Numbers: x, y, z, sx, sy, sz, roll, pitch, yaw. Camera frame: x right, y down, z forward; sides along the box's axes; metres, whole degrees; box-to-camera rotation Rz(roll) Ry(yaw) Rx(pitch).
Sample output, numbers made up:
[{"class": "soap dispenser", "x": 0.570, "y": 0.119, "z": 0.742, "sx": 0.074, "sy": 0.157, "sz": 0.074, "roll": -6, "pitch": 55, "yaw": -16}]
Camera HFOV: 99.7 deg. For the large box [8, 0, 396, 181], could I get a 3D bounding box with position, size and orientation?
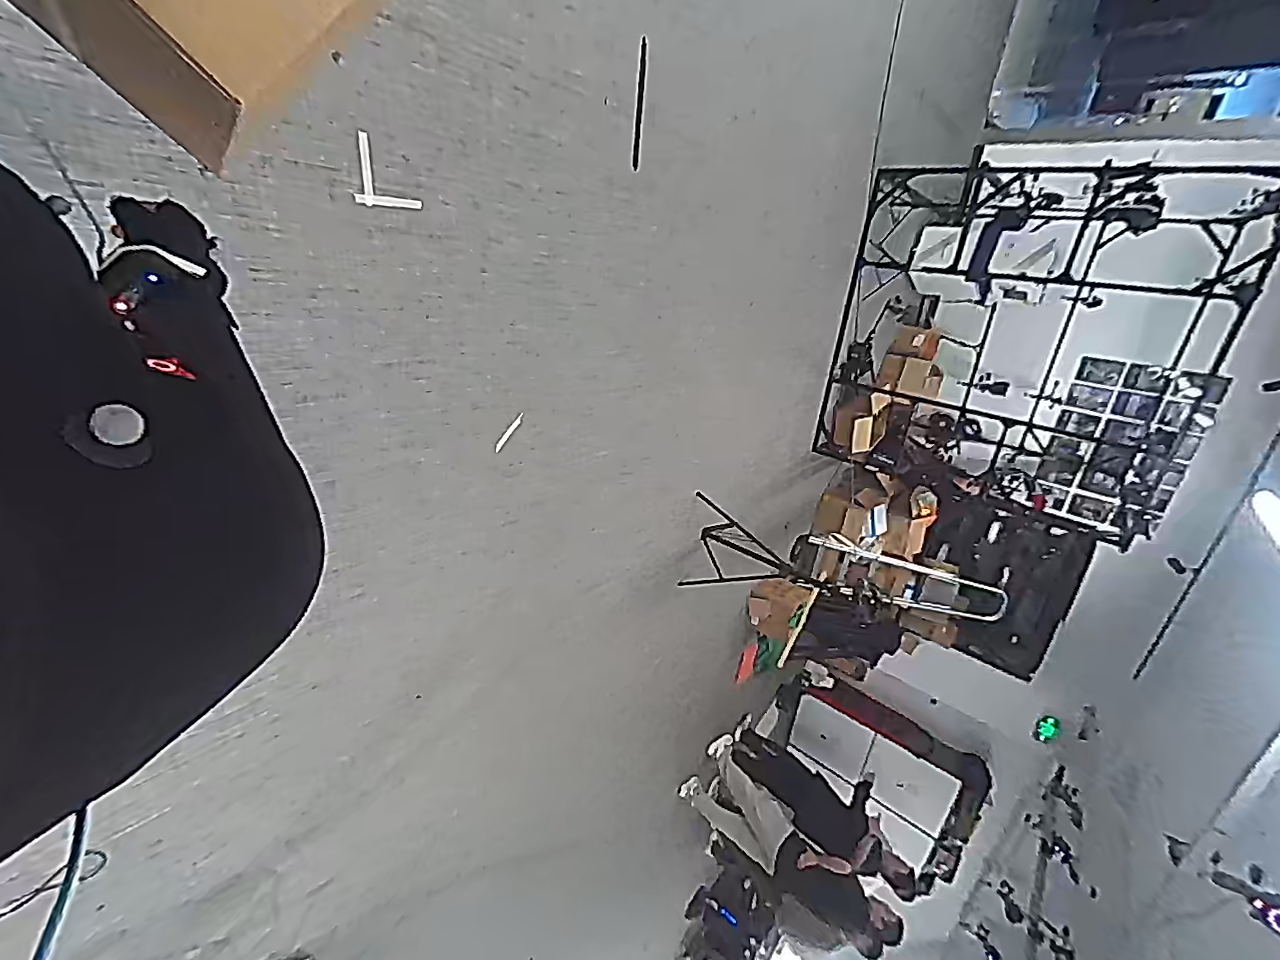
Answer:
[{"class": "large box", "x": -0.443, "y": -0.555, "z": 0.517, "sx": 0.320, "sy": 0.408, "sz": 0.320, "roll": -52, "pitch": 130, "yaw": -11}]
